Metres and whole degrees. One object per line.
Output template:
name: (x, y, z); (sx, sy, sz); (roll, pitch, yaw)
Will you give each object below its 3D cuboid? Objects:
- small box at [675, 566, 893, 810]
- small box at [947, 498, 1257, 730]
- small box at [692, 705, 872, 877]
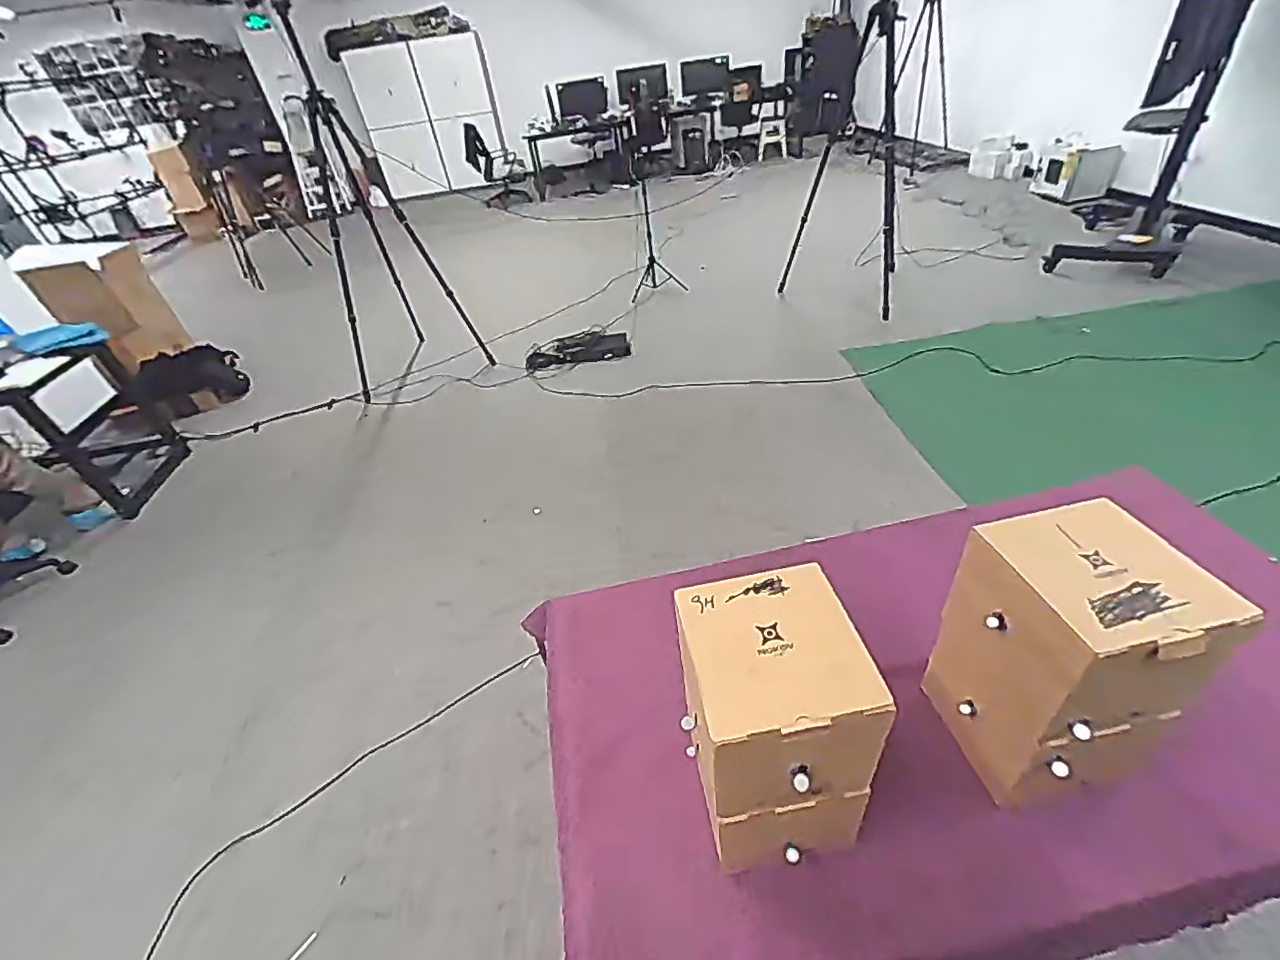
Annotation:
small box: (0.140, 0.225, 0.578); (0.168, 0.176, 0.179); (-11, 38, -2)
small box: (0.478, 0.151, 0.599); (0.168, 0.176, 0.179); (-12, 36, -3)
small box: (0.162, 0.355, 0.676); (0.168, 0.176, 0.179); (-12, 38, -2)
